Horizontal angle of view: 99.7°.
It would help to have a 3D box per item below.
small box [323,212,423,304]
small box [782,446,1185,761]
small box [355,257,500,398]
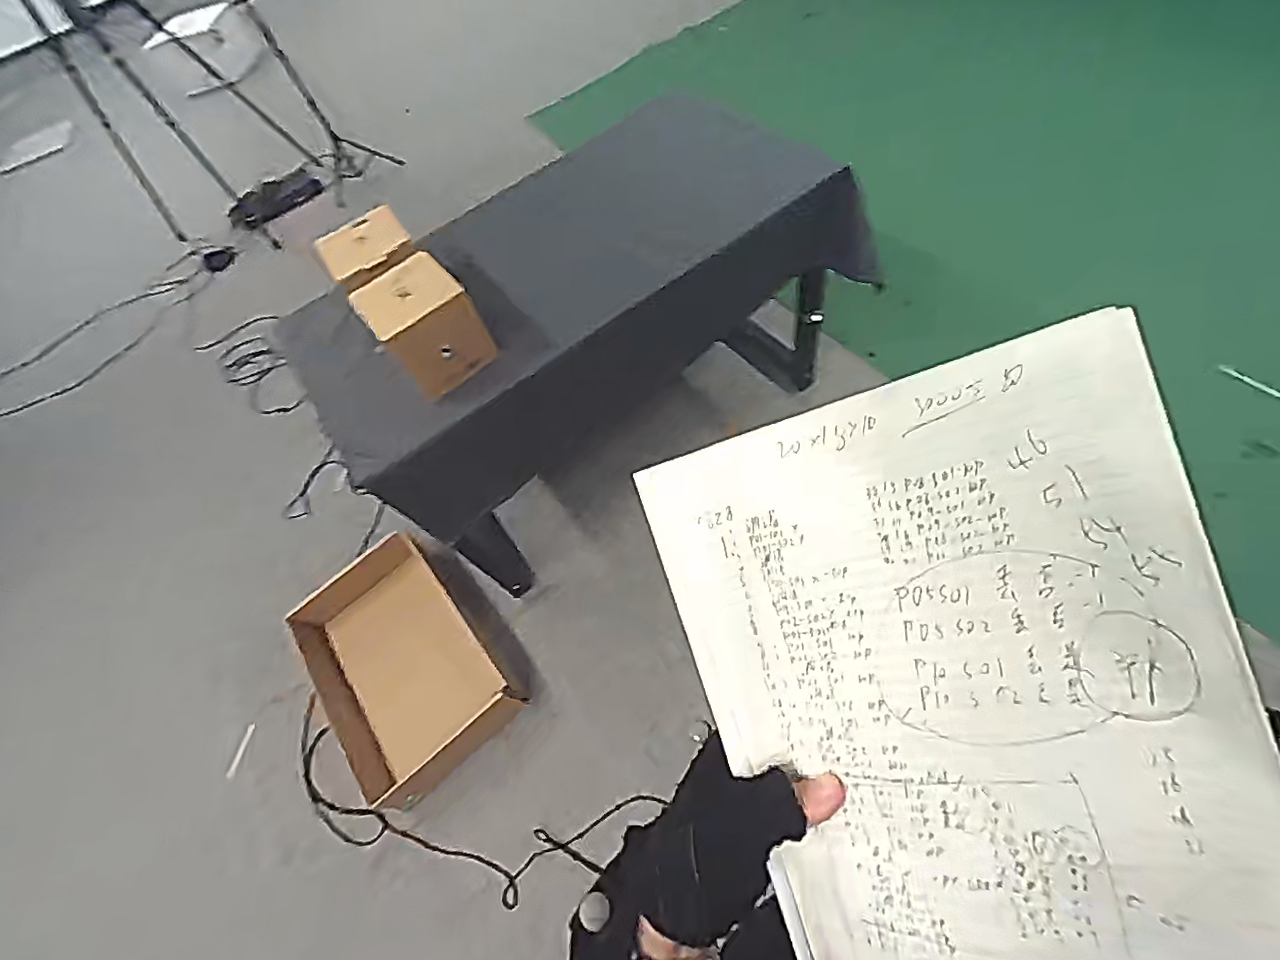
[{"bbox_3d":[-0.531,-0.426,1.156,0.168,0.176,0.179,-34,59,-9],"label":"small box"},{"bbox_3d":[0.195,0.093,0.377,0.168,0.176,0.179,-2,65,8],"label":"small box"},{"bbox_3d":[-0.399,-0.284,1.037,0.168,0.176,0.179,-37,58,-11],"label":"small box"}]
